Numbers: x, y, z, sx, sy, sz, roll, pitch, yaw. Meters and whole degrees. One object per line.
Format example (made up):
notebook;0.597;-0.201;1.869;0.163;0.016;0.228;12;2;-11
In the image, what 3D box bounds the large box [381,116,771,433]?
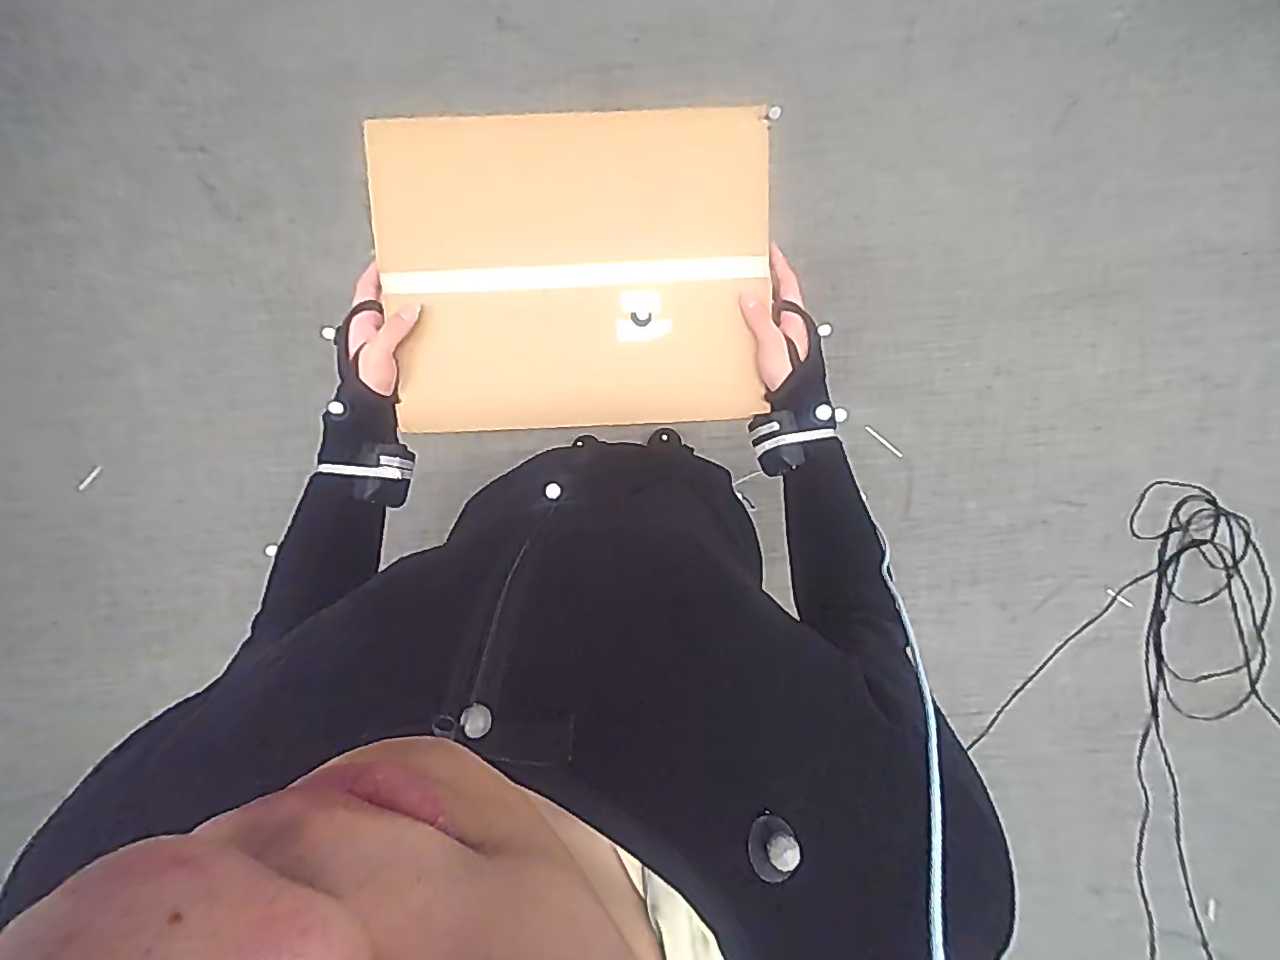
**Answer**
large box;-0.067;-0.235;0.723;0.408;0.320;0.320;-3;98;-2
